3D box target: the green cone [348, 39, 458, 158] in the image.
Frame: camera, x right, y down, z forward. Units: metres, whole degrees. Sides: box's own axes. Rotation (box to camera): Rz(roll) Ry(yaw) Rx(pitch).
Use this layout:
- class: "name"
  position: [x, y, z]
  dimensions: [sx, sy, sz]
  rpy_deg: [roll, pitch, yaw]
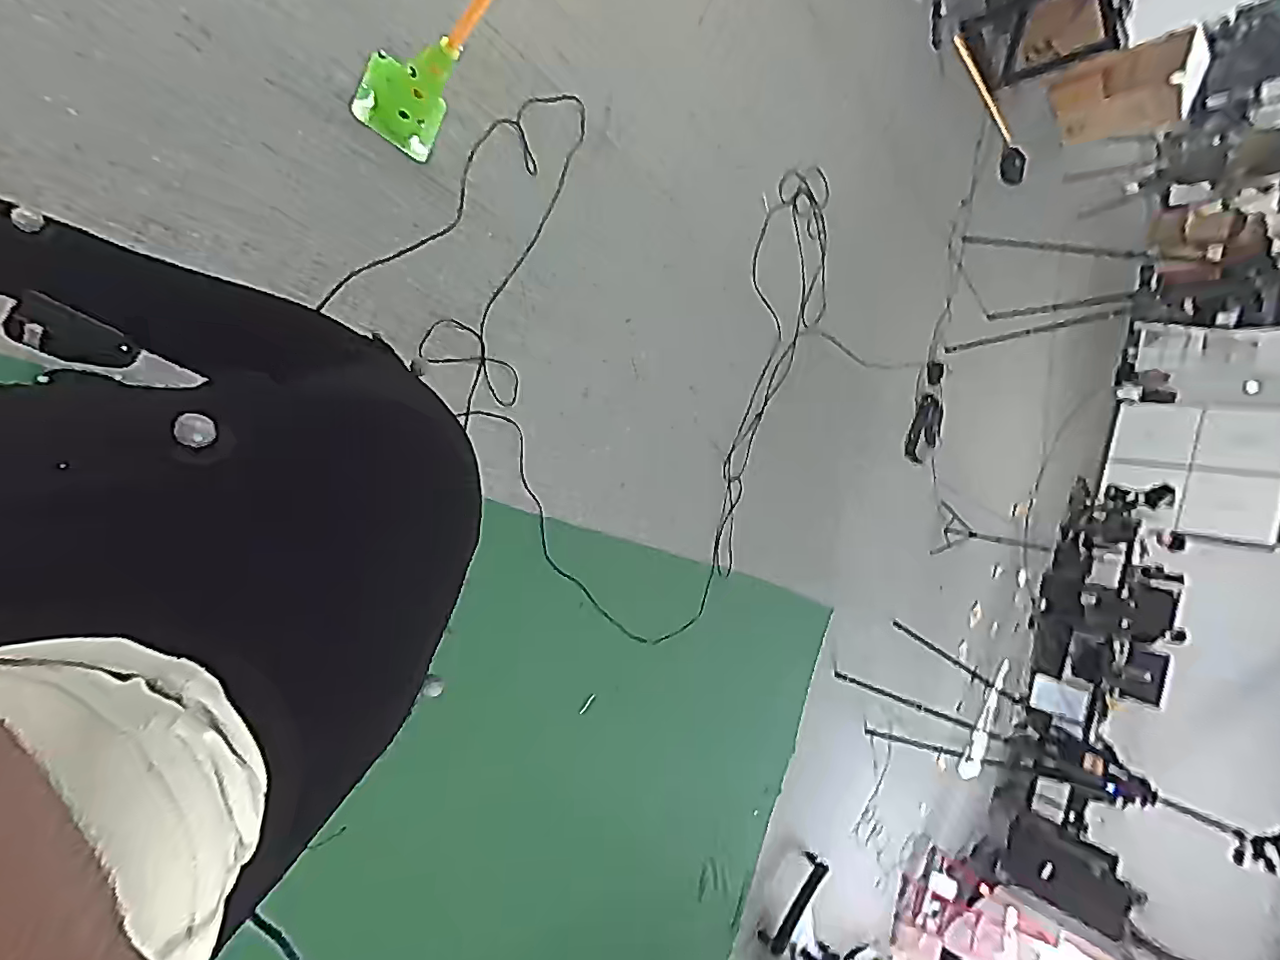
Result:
- class: "green cone"
  position: [-0.549, -0.990, 1.339]
  dimensions: [0.202, 0.368, 0.200]
  rpy_deg: [22, 84, -42]
